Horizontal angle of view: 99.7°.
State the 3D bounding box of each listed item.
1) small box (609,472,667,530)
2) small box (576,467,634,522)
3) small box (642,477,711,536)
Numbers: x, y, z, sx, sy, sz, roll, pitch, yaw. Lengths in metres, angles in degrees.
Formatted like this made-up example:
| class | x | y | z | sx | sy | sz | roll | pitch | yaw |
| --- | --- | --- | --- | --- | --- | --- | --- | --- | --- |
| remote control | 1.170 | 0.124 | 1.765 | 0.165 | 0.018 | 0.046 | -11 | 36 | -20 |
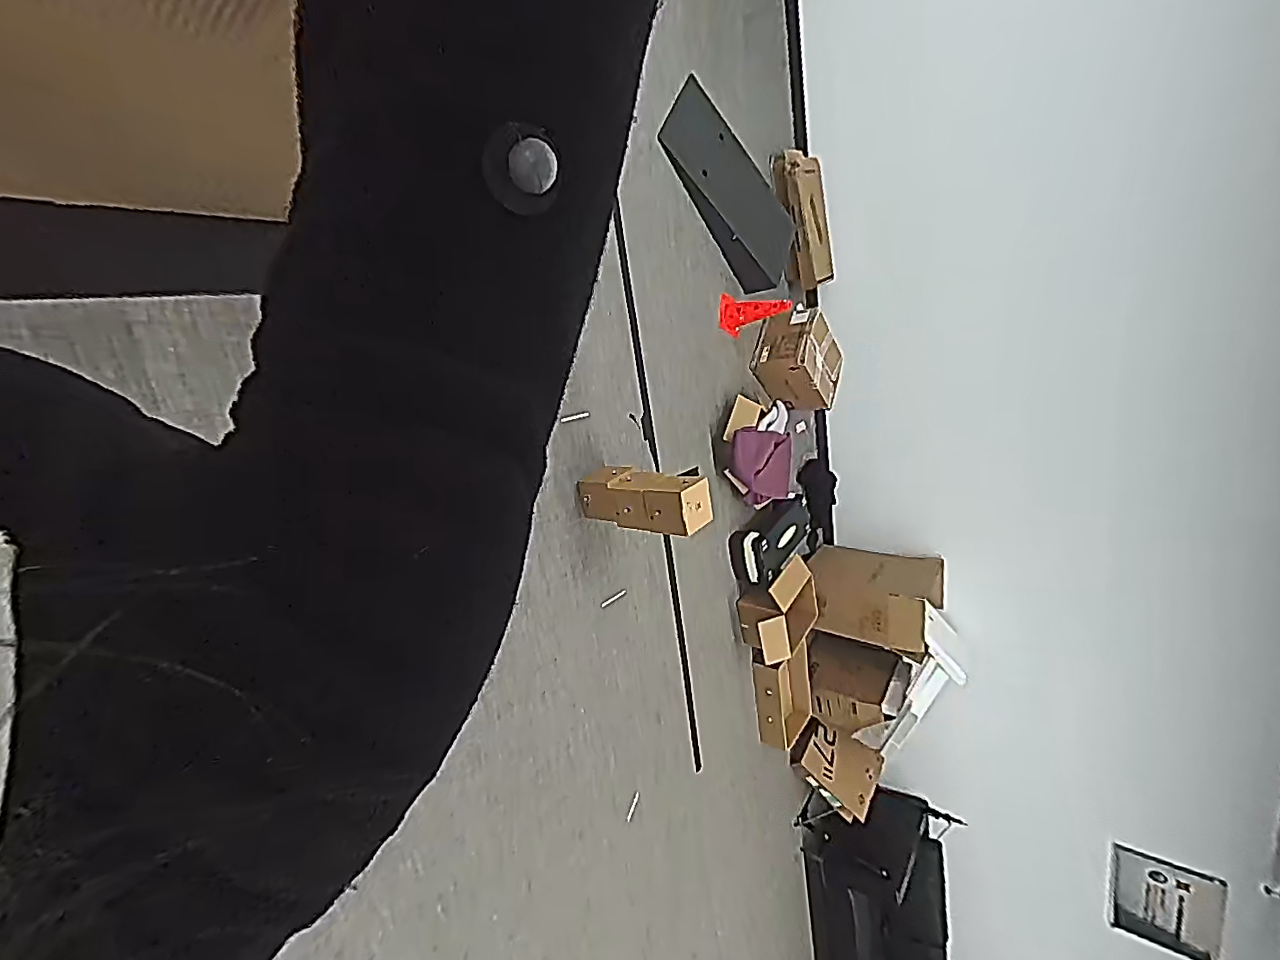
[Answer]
| class | x | y | z | sx | sy | sz | roll | pitch | yaw |
| --- | --- | --- | --- | --- | --- | --- | --- | --- | --- |
| small box | 0.001 | 0.076 | 2.059 | 0.179 | 0.176 | 0.168 | -32 | 116 | -44 |
| small box | -0.128 | 0.052 | 2.159 | 0.179 | 0.176 | 0.168 | -31 | 115 | -44 |
| small box | 0.132 | 0.089 | 1.958 | 0.179 | 0.176 | 0.168 | -26 | 111 | -46 |
